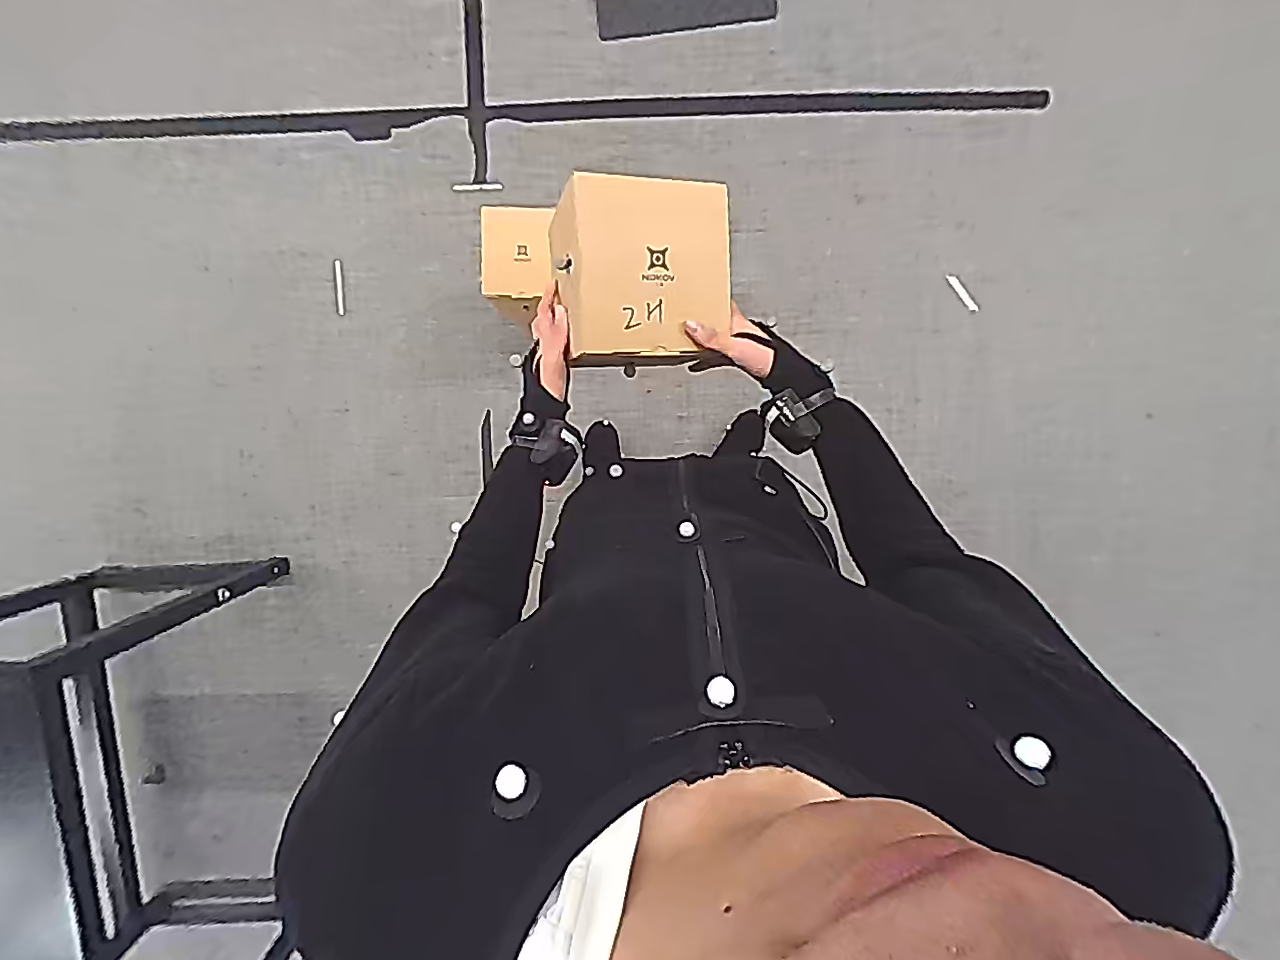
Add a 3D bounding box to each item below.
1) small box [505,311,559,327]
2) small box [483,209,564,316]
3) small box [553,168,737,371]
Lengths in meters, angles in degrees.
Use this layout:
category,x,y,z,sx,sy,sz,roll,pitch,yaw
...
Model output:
category,x,y,z,sx,sy,sz,roll,pitch,yaw
small box,-0.227,-0.471,1.322,0.179,0.176,0.168,-1,97,-2
small box,-0.235,-0.459,1.160,0.168,0.176,0.179,1,97,-1
small box,-0.003,-0.223,0.619,0.168,0.176,0.179,-5,97,-16
